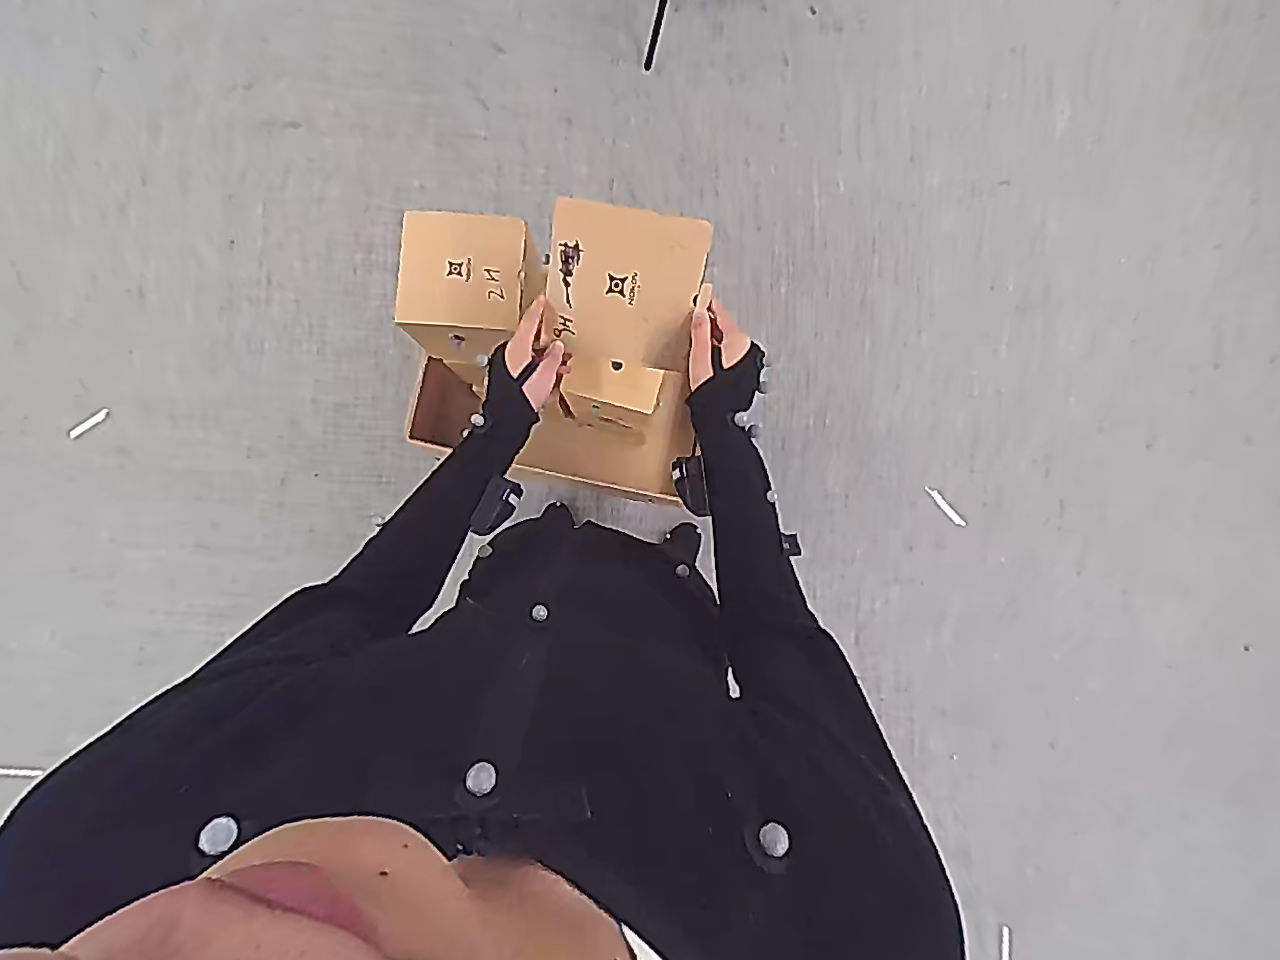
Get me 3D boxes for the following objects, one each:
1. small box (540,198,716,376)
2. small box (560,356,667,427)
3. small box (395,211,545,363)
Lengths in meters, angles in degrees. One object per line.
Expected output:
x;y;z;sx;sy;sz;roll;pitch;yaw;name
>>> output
-0.016;-0.234;0.682;0.179;0.176;0.168;10;105;-2;small box
-0.035;-0.208;1.003;0.168;0.176;0.179;15;85;1;small box
-0.252;-0.287;0.836;0.179;0.176;0.168;4;86;-2;small box
